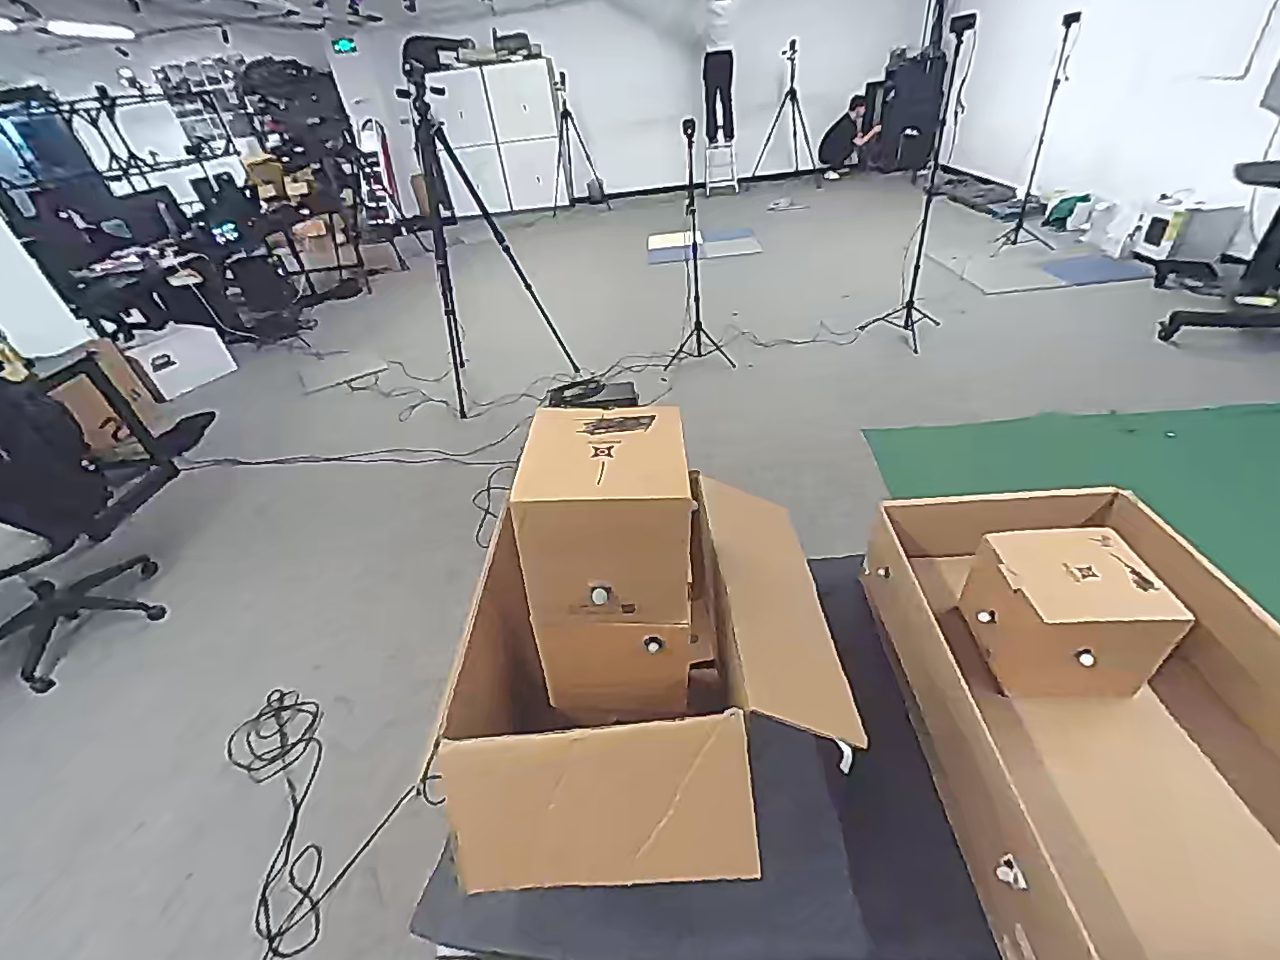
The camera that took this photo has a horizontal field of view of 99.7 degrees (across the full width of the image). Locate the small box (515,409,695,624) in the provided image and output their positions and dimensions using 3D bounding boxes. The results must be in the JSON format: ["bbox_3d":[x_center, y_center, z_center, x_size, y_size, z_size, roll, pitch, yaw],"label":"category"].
[{"bbox_3d":[-0.031,0.036,0.597,0.168,0.176,0.179,-1,36,1],"label":"small box"}]
